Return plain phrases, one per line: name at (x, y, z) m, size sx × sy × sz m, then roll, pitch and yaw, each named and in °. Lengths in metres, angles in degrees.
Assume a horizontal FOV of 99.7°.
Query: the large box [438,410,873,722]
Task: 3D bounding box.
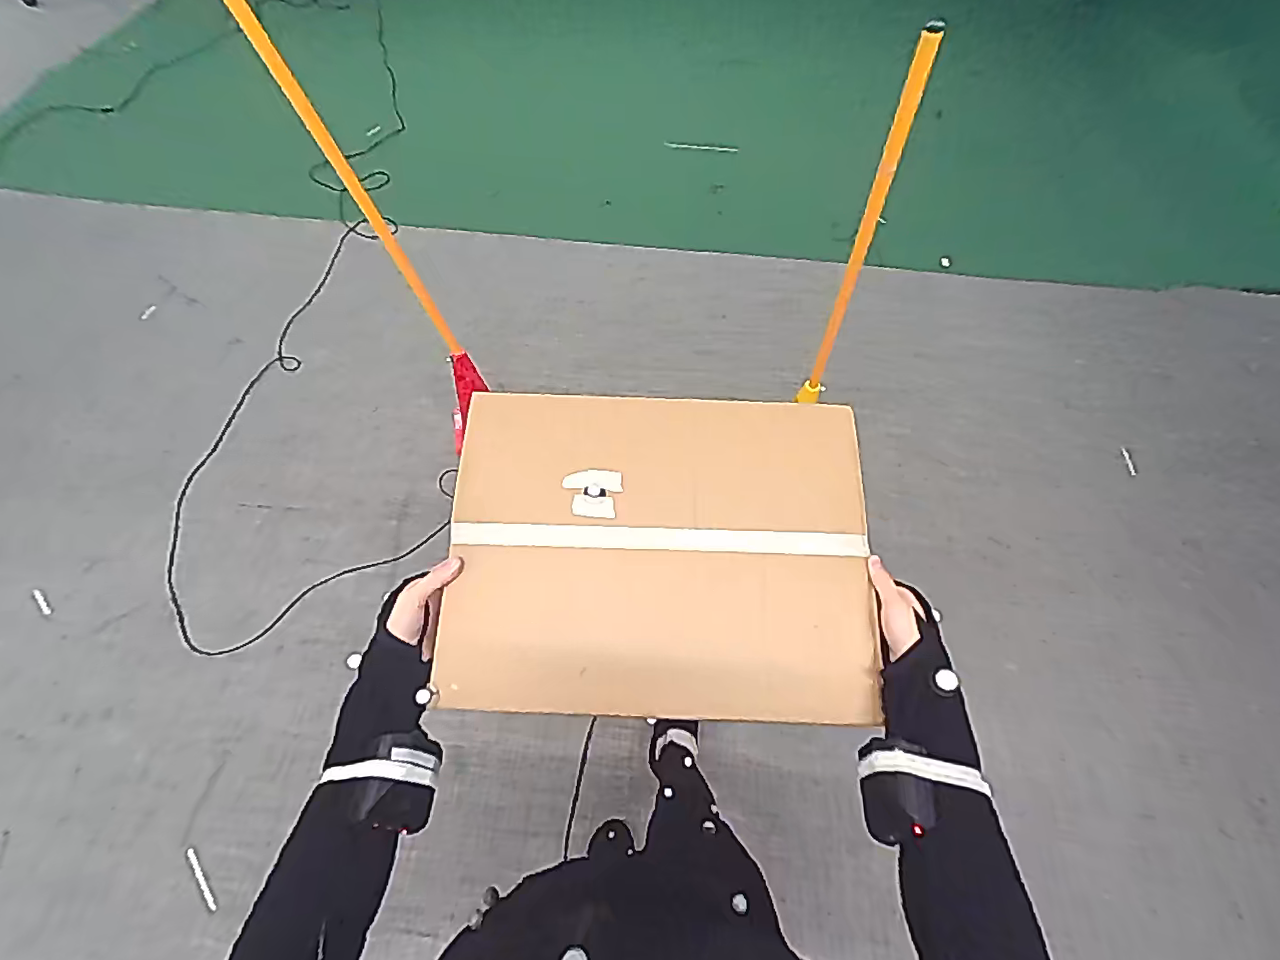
large box at (0.018, 0.119, 0.679) m, size 0.408 × 0.320 × 0.320 m, roll 1°, pitch 69°, yaw 1°
